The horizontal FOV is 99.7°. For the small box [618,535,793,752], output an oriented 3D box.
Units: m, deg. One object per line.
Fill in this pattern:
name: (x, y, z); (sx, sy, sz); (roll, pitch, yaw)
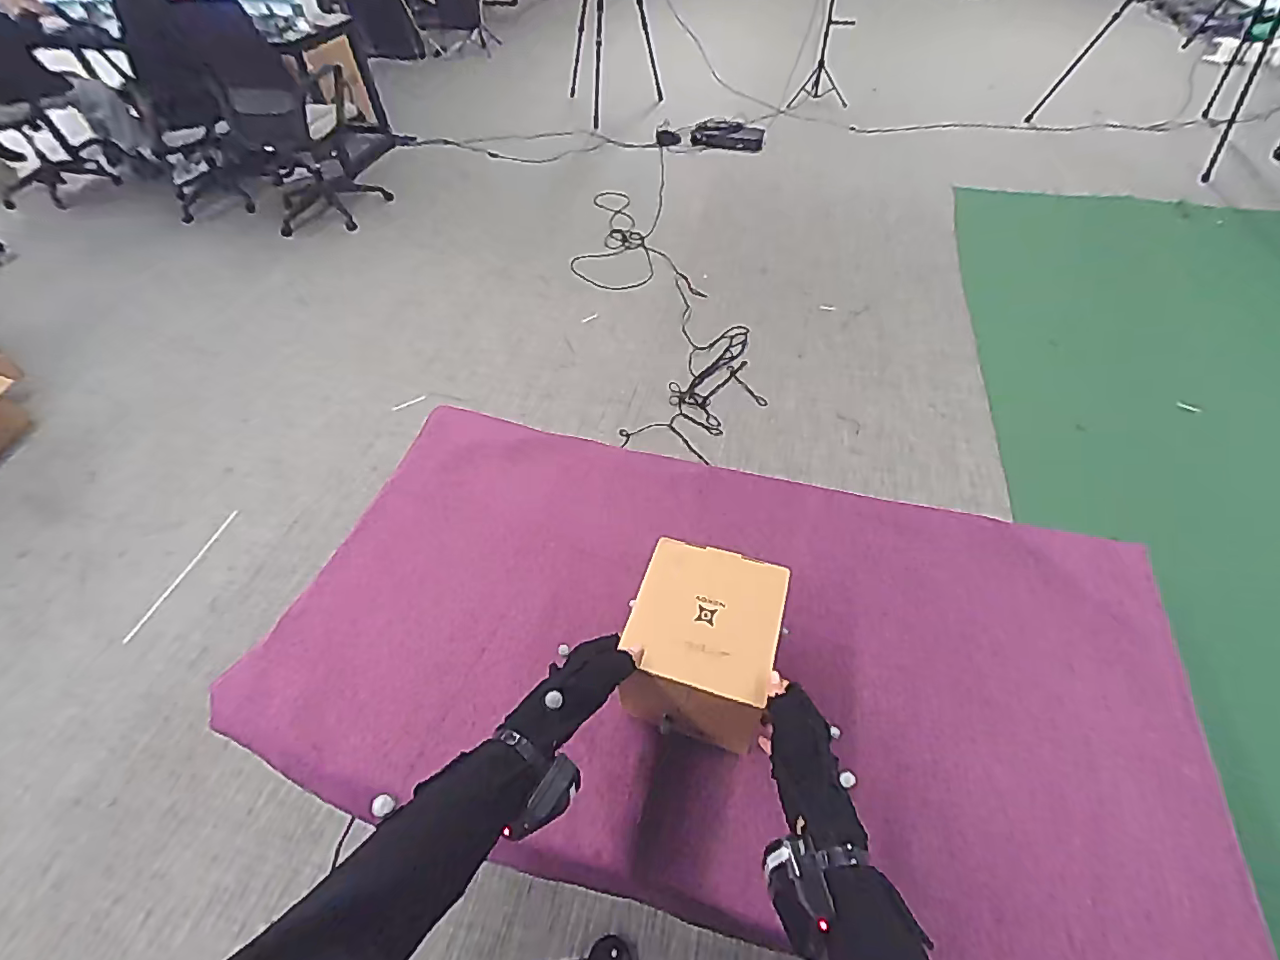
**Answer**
small box: (0.080, 0.201, 0.667); (0.168, 0.176, 0.179); (13, 50, 14)
